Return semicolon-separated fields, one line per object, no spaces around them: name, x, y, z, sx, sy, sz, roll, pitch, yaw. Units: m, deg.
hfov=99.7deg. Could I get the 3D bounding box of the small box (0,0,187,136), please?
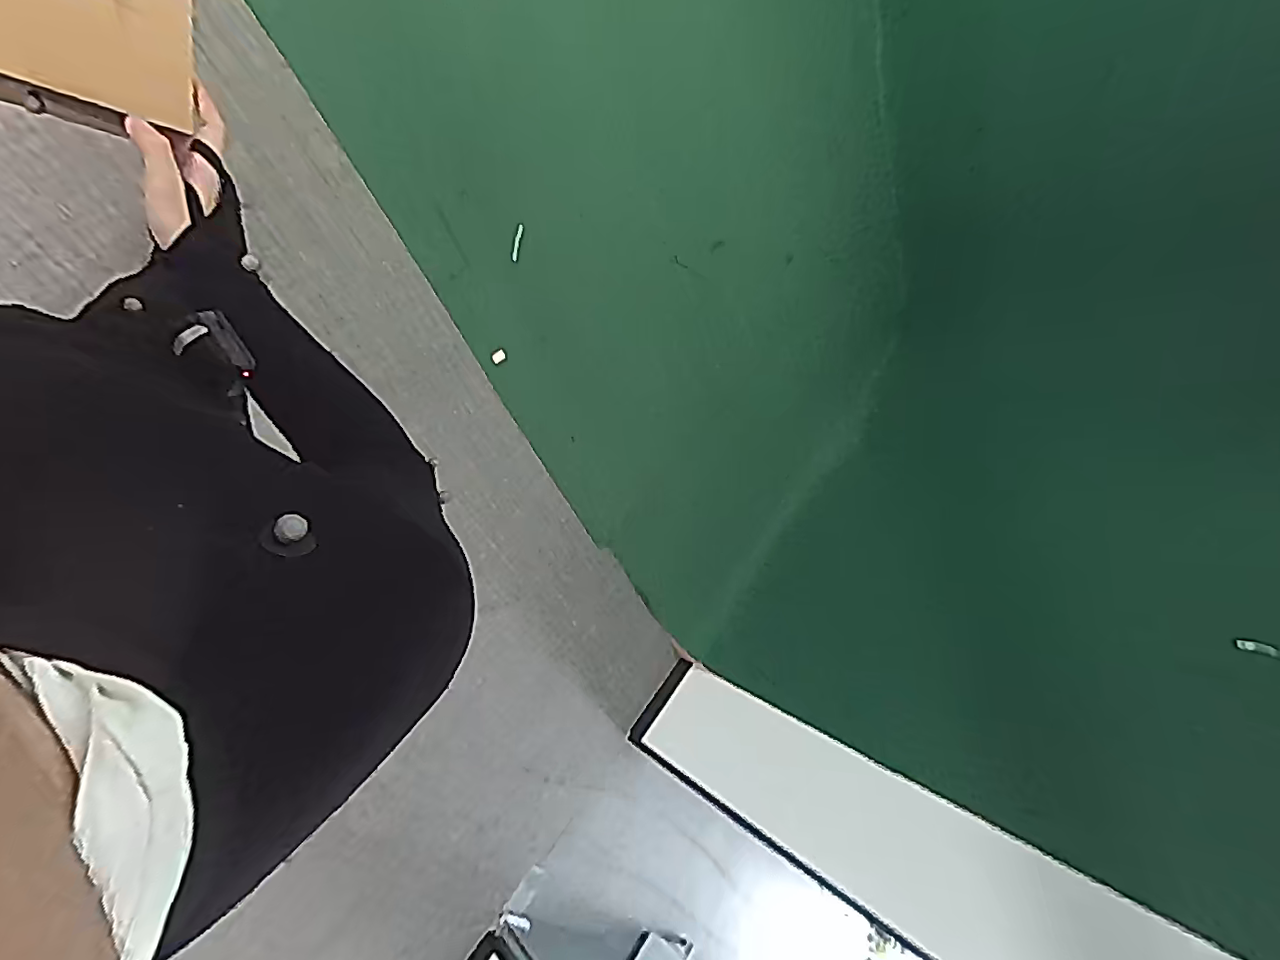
small box;-0.488;-0.396;0.428;0.179;0.176;0.168;-6;113;-49
